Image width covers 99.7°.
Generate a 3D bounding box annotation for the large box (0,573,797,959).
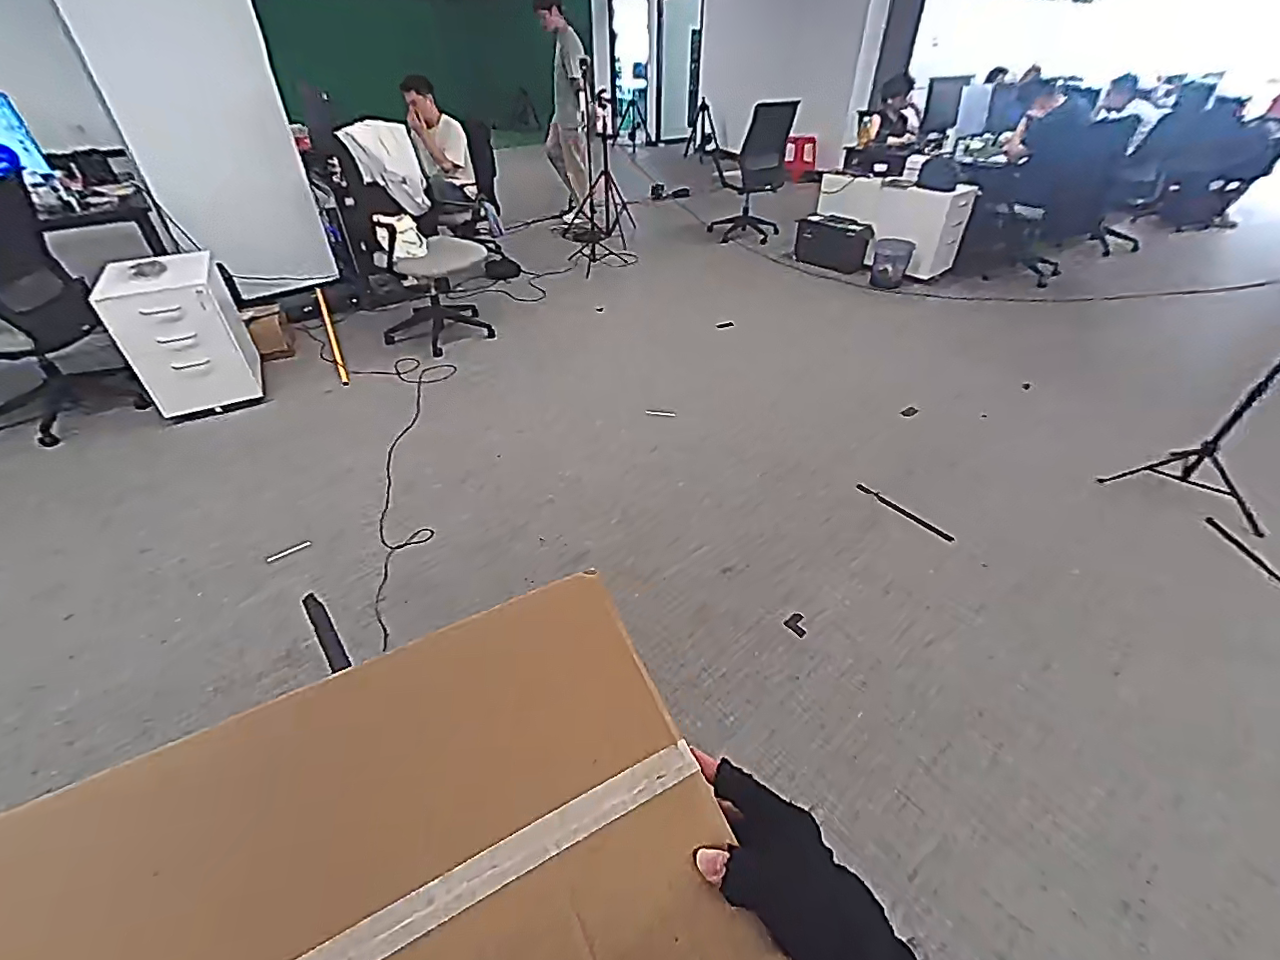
[{"bbox_3d":[-0.154,0.343,0.429,0.408,0.320,0.320,-21,59,-19],"label":"large box"}]
